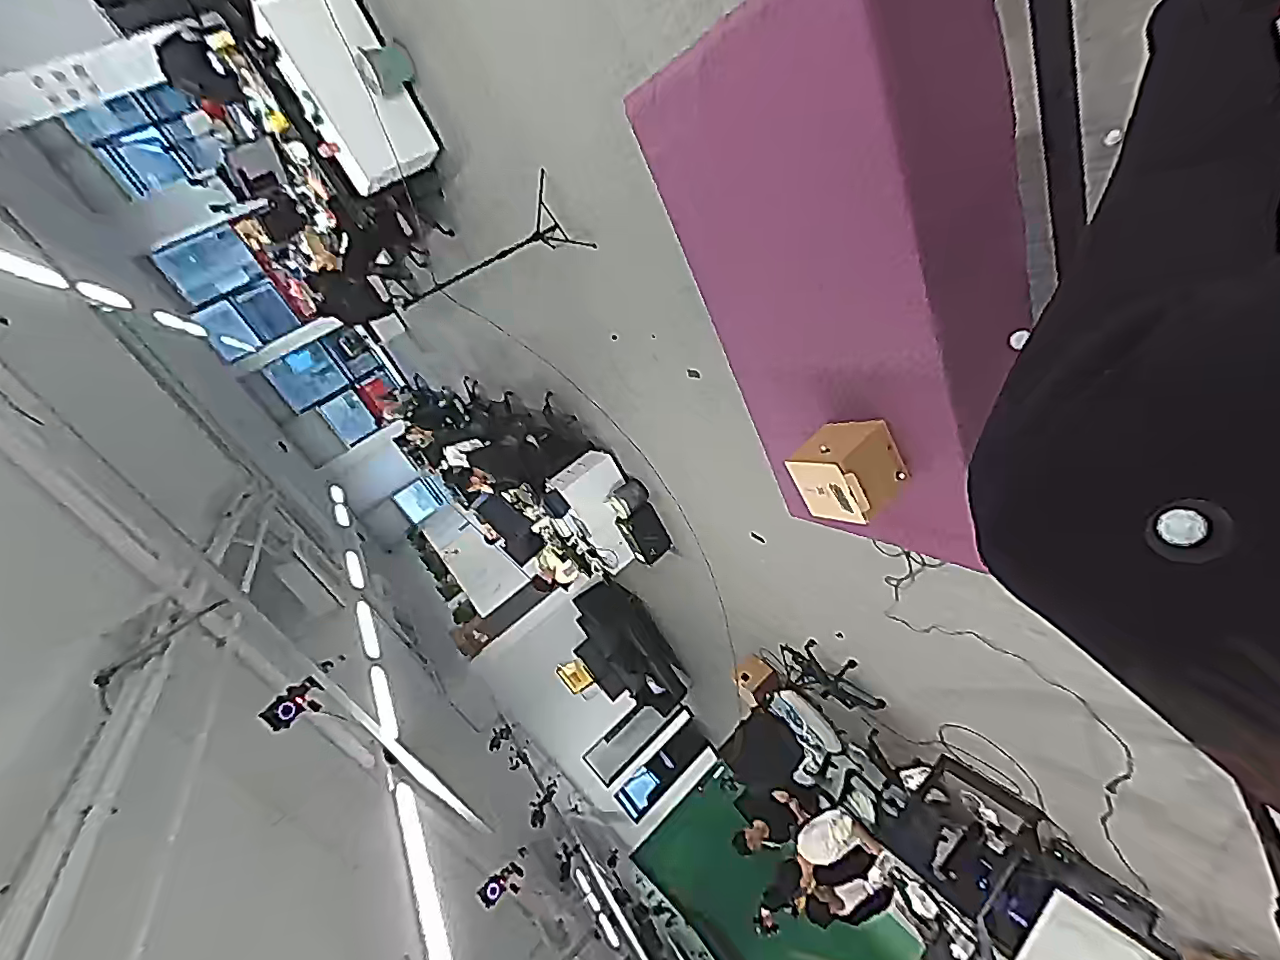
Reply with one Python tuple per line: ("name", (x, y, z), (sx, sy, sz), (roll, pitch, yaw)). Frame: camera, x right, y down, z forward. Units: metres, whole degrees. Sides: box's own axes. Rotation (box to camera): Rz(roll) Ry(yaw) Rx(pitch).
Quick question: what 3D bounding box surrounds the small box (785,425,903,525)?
("small box", (0.482, -0.017, 1.263), (0.168, 0.176, 0.179), (58, 160, -16))
